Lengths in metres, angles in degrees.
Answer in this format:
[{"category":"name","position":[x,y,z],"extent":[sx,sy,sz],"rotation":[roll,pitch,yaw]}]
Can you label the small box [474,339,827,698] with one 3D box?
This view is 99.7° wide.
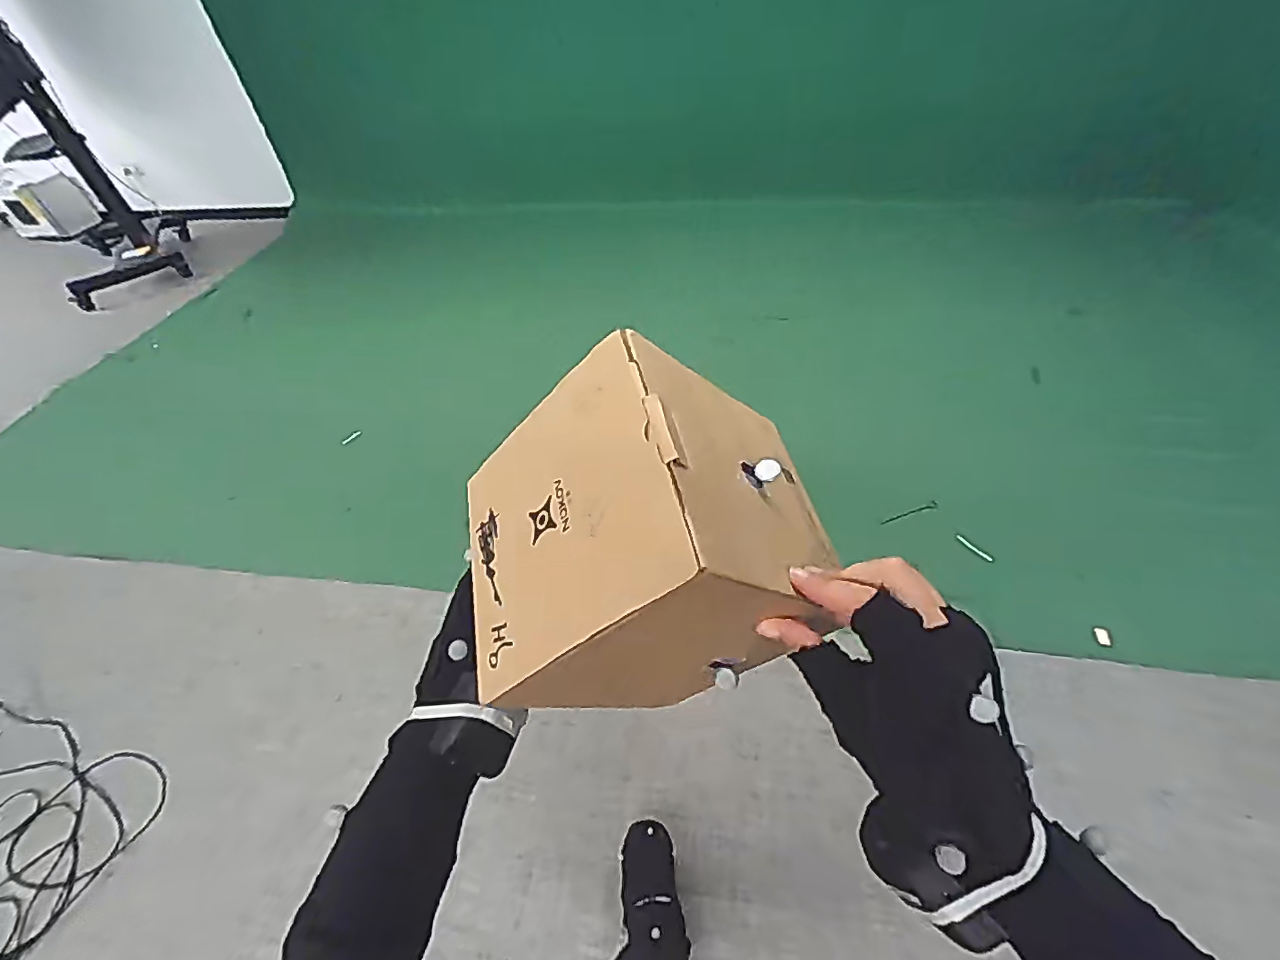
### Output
[{"category":"small box","position":[0.006,0.043,0.383],"extent":[0.179,0.176,0.168],"rotation":[-37,50,29]}]
